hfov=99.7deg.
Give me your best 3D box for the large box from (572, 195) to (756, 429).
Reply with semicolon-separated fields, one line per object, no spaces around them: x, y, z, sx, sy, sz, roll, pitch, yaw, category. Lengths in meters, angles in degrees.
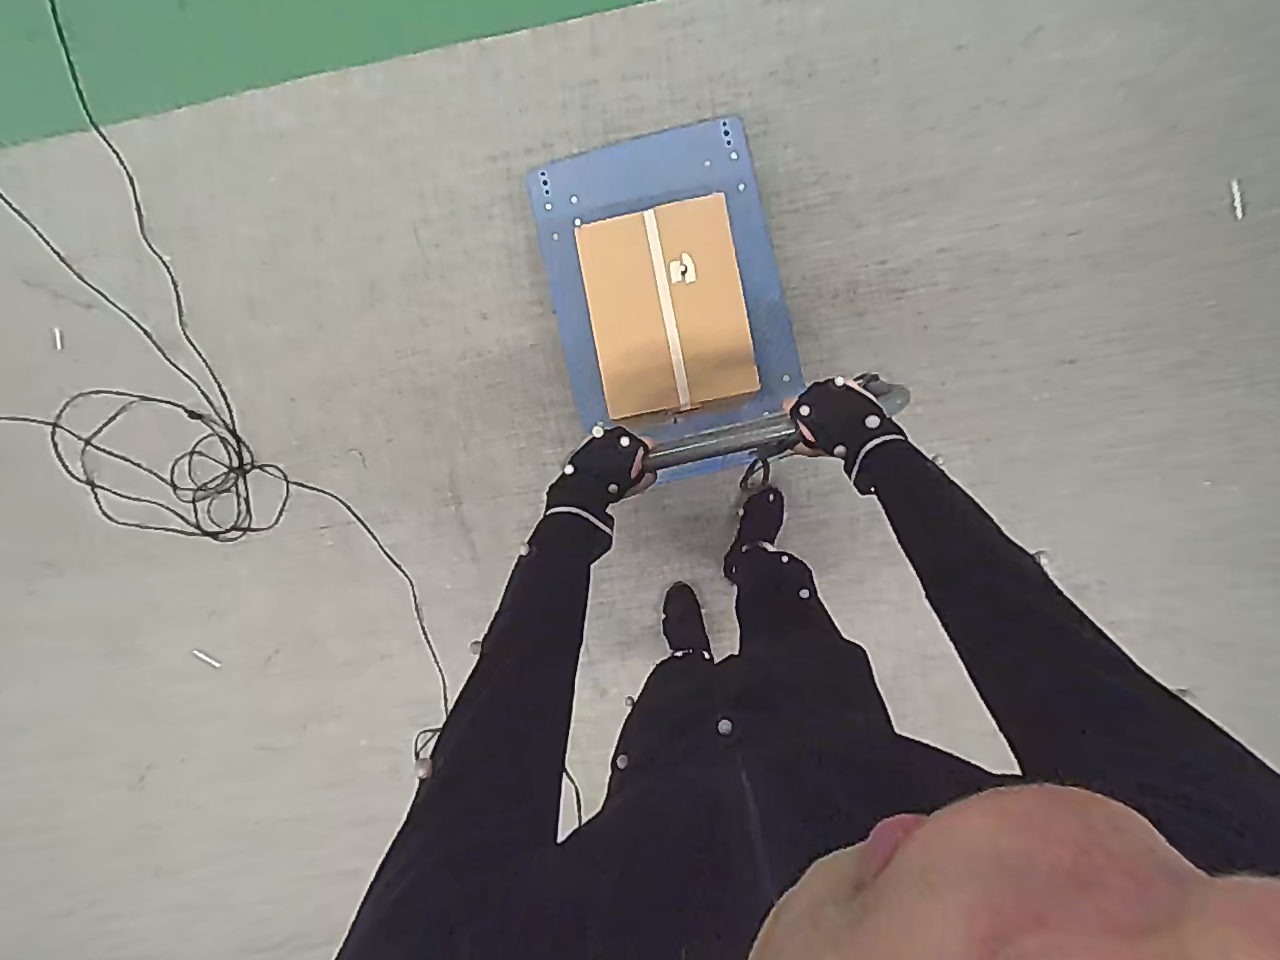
0.059;-0.353;1.246;0.320;0.320;0.408;-11;90;4;large box
